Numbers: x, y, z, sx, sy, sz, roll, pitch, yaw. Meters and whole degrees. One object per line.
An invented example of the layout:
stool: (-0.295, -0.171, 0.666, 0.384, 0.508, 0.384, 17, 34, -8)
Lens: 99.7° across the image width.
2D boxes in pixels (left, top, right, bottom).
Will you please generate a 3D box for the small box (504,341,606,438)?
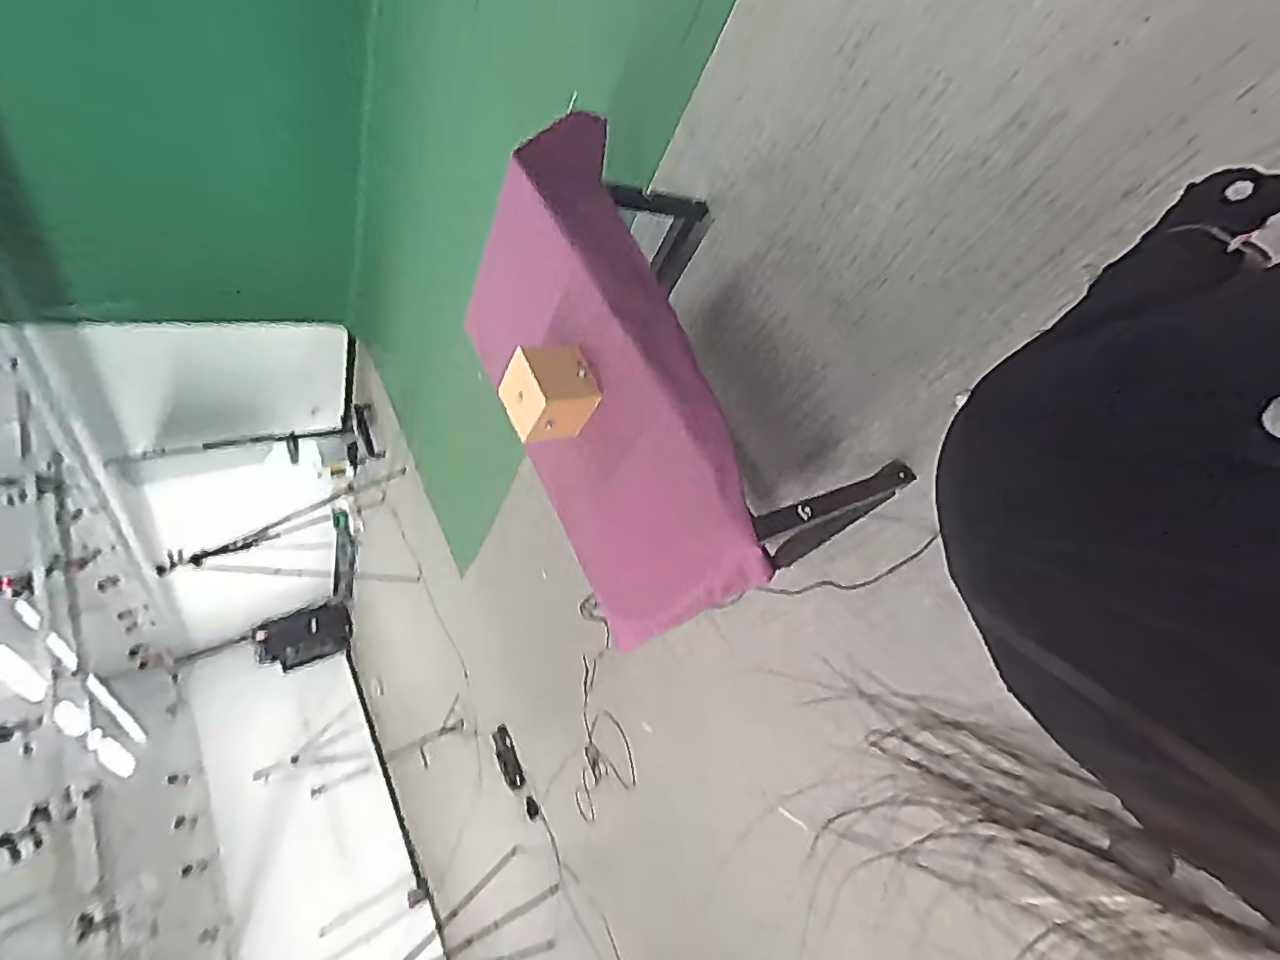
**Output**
small box: (-0.209, -0.226, 1.341, 0.179, 0.176, 0.168, -45, 67, 48)
